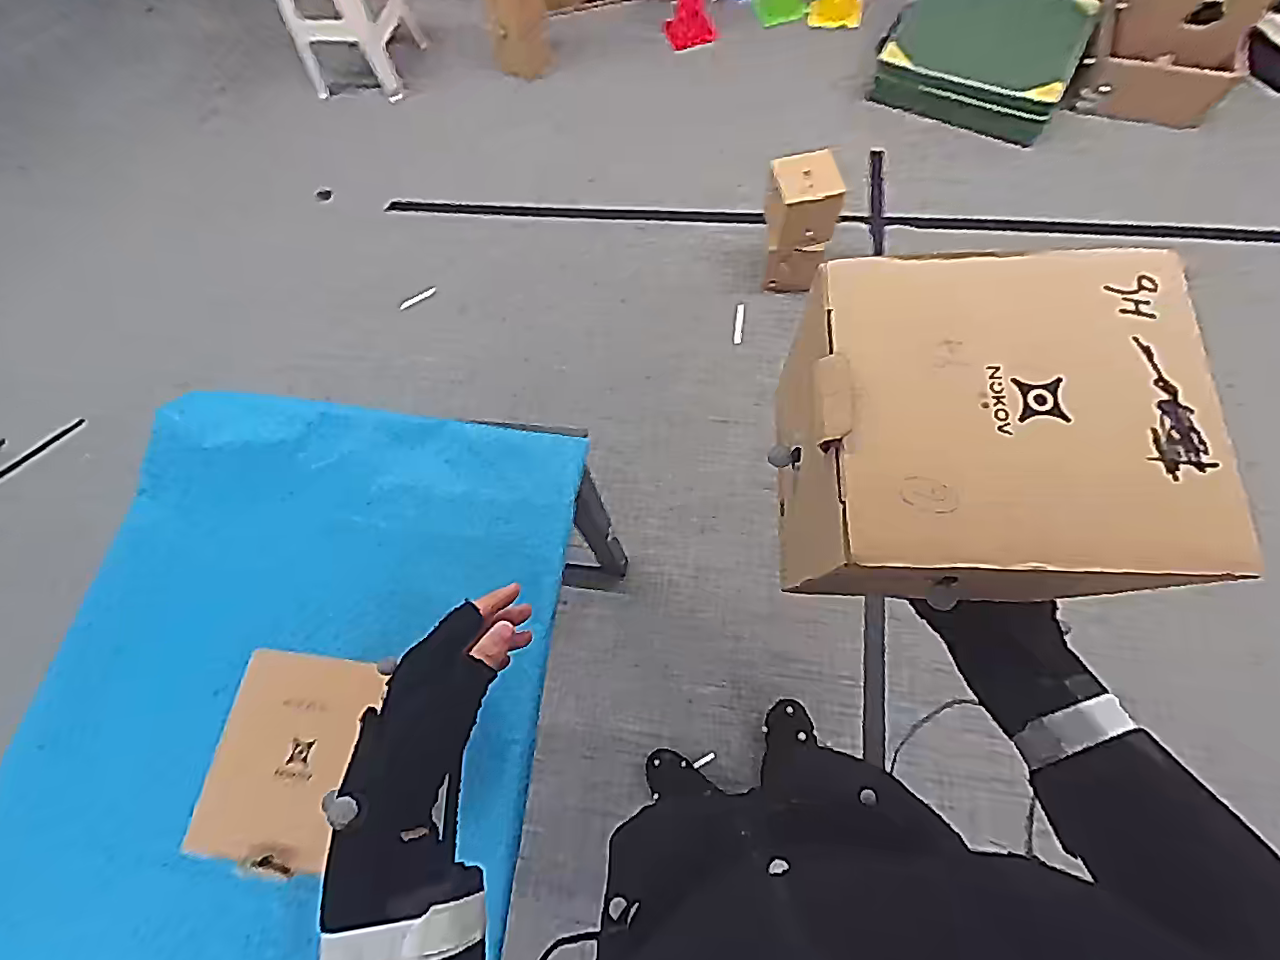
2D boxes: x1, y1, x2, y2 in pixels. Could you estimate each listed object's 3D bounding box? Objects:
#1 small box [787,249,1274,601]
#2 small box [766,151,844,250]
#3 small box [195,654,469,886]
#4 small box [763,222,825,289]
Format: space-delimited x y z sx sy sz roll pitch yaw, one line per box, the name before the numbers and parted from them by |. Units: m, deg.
small box | 0.191 -0.014 0.335 0.179 0.176 0.168 -1 73 5
small box | 0.463 -0.794 1.547 0.168 0.176 0.179 -8 69 3
small box | -0.303 0.291 0.578 0.168 0.176 0.179 5 69 7
small box | 0.480 -0.721 1.695 0.168 0.176 0.179 4 68 7
